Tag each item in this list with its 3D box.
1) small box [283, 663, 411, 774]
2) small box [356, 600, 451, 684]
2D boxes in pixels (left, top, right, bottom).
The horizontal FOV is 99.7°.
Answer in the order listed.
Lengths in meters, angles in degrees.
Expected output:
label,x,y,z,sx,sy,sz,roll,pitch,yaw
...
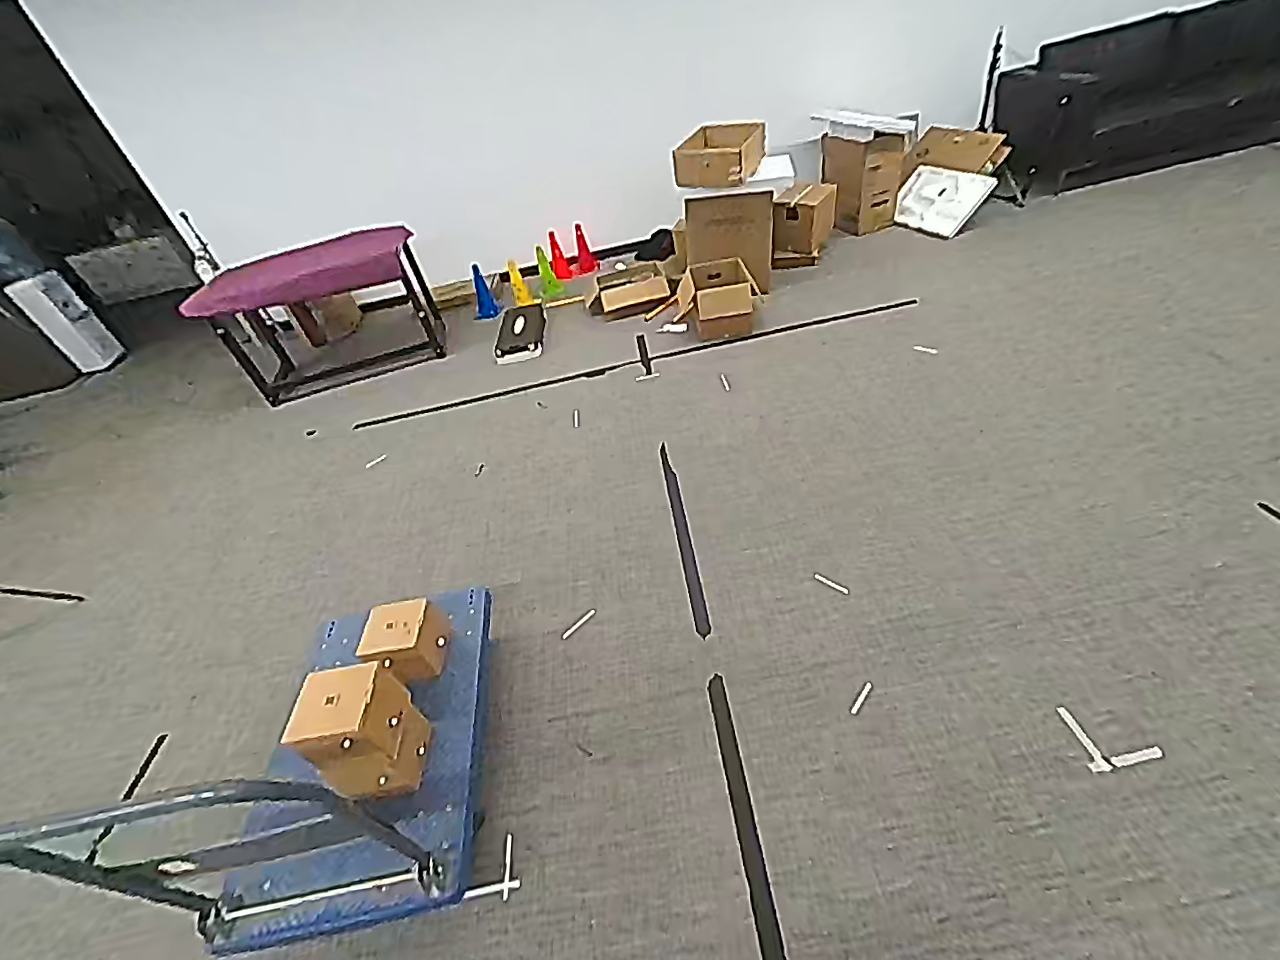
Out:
label,x,y,z,sx,sy,sz,roll,pitch,yaw
small box,-0.663,0.552,1.247,0.179,0.176,0.168,-11,40,1
small box,-0.685,0.482,1.586,0.179,0.176,0.168,-10,41,3
